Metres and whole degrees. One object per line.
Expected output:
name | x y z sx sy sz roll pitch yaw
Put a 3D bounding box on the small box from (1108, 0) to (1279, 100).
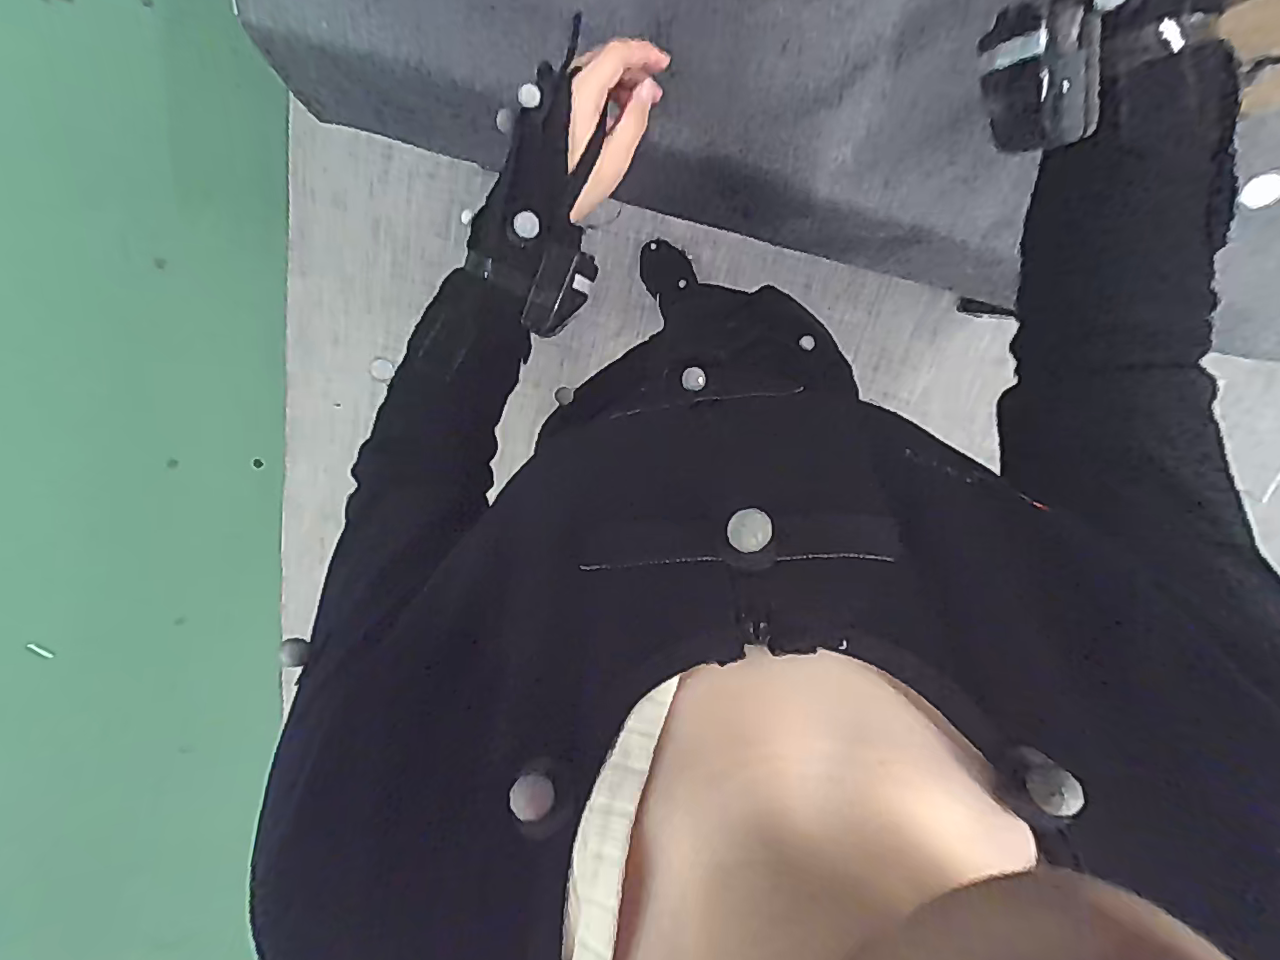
small box | 0.507 -0.413 0.394 0.168 0.176 0.179 11 110 -4
